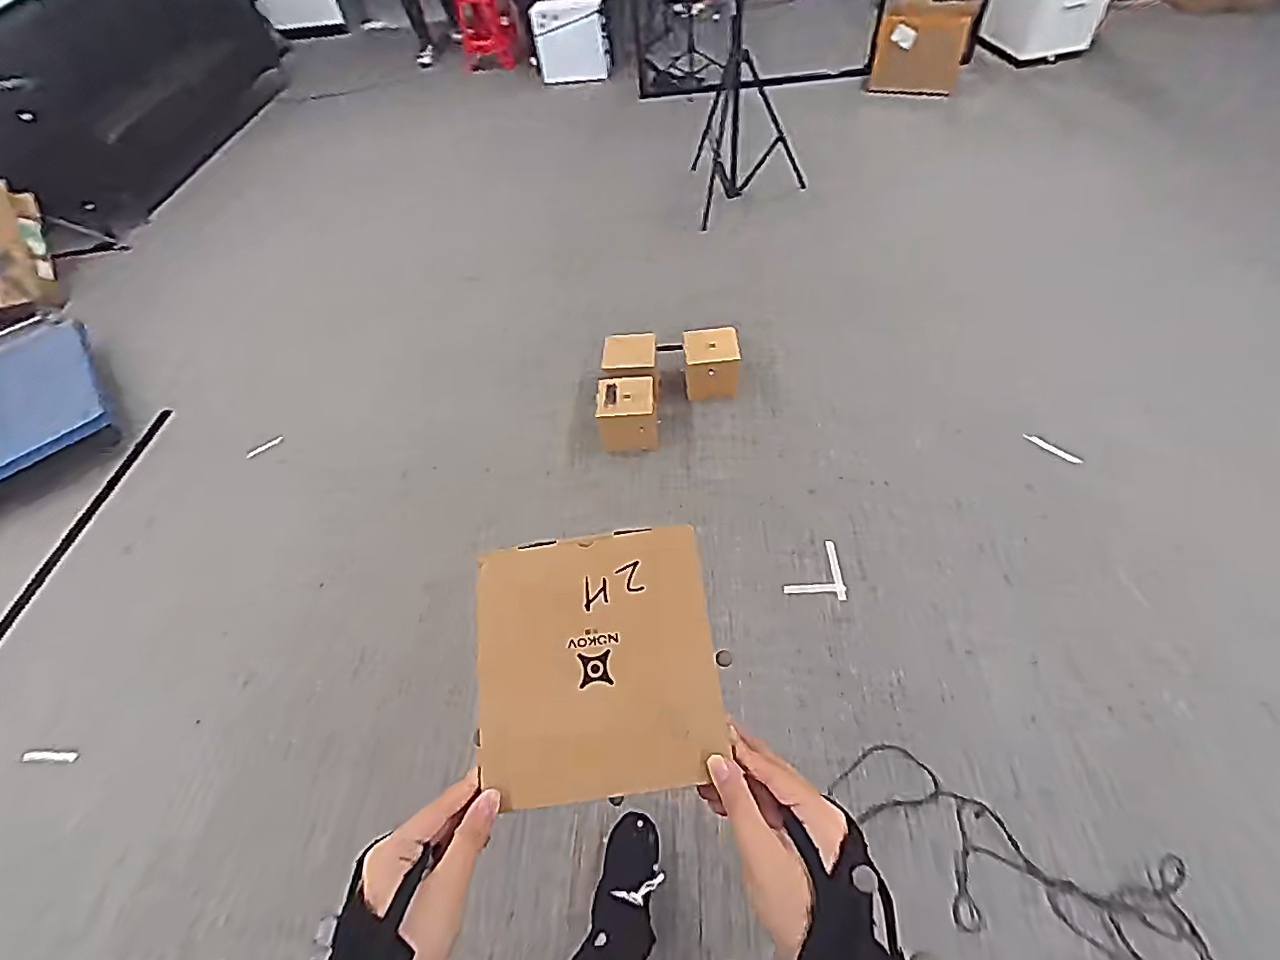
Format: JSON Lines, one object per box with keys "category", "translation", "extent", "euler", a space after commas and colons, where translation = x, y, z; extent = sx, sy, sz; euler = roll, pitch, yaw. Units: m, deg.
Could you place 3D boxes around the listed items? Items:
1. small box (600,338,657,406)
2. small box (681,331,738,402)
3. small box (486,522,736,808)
{"category": "small box", "translation": [-0.035, -0.376, 1.878], "extent": [0.179, 0.176, 0.168], "euler": [-1, 53, 6]}
{"category": "small box", "translation": [0.235, -0.386, 1.858], "extent": [0.179, 0.176, 0.168], "euler": [-6, 53, 4]}
{"category": "small box", "translation": [-0.021, 0.151, 0.450], "extent": [0.168, 0.176, 0.179], "euler": [-8, 66, 1]}
